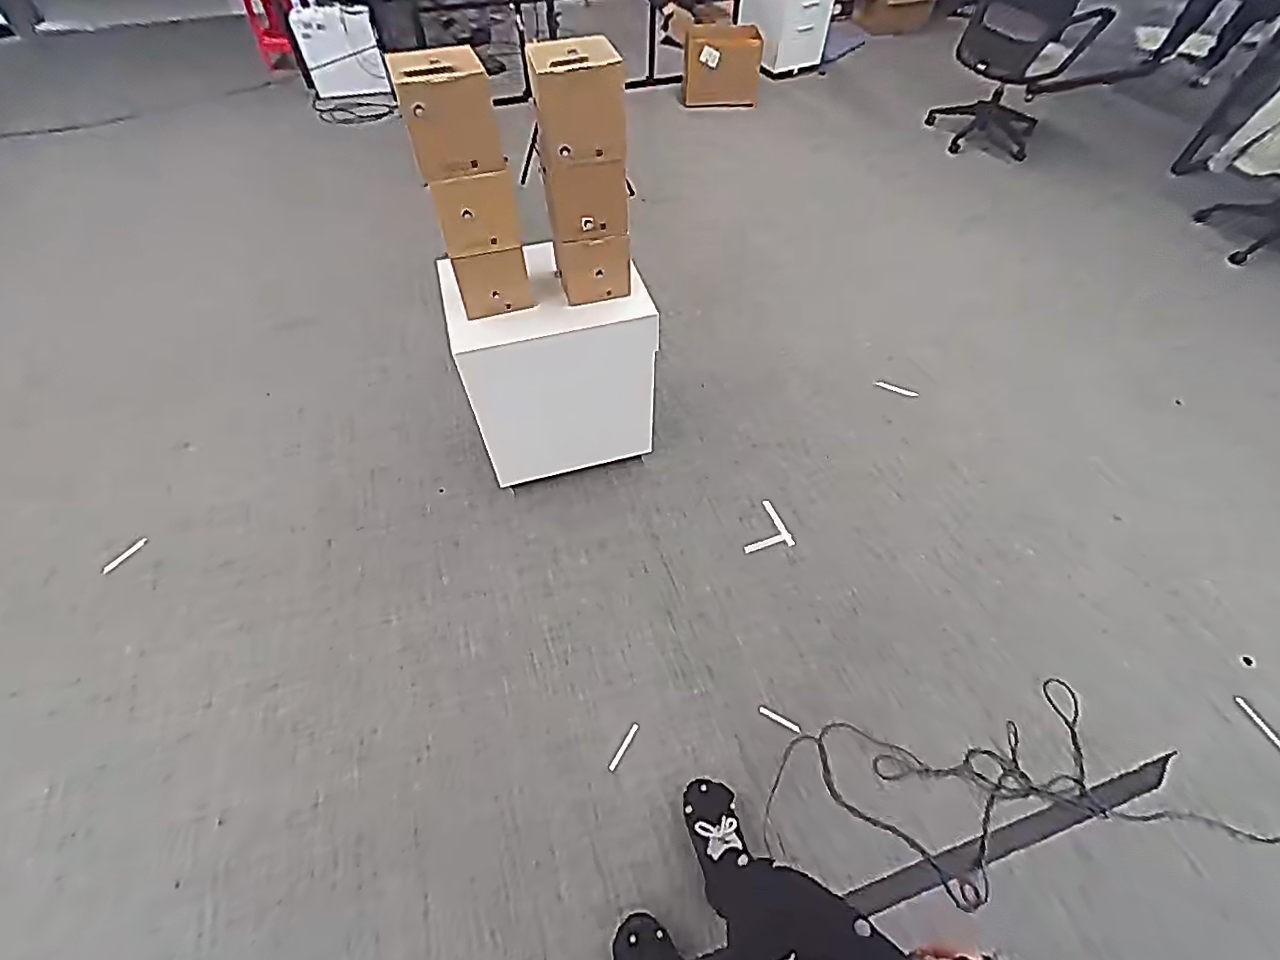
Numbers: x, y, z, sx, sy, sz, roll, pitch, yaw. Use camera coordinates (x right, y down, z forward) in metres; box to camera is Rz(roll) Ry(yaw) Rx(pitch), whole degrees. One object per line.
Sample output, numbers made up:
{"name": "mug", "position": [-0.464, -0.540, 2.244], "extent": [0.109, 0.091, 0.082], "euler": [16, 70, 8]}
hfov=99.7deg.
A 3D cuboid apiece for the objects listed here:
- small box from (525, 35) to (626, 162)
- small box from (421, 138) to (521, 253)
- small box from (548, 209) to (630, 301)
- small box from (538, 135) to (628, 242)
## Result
{"name": "small box", "position": [-0.128, -0.769, 1.103], "extent": [0.168, 0.176, 0.179], "euler": [-13, 54, -7]}
{"name": "small box", "position": [-0.370, -0.623, 1.200], "extent": [0.168, 0.176, 0.179], "euler": [-15, 55, -11]}
{"name": "small box", "position": [-0.125, -0.574, 1.366], "extent": [0.168, 0.176, 0.179], "euler": [-14, 57, -8]}
{"name": "small box", "position": [-0.128, -0.675, 1.238], "extent": [0.168, 0.176, 0.179], "euler": [-14, 56, -8]}
